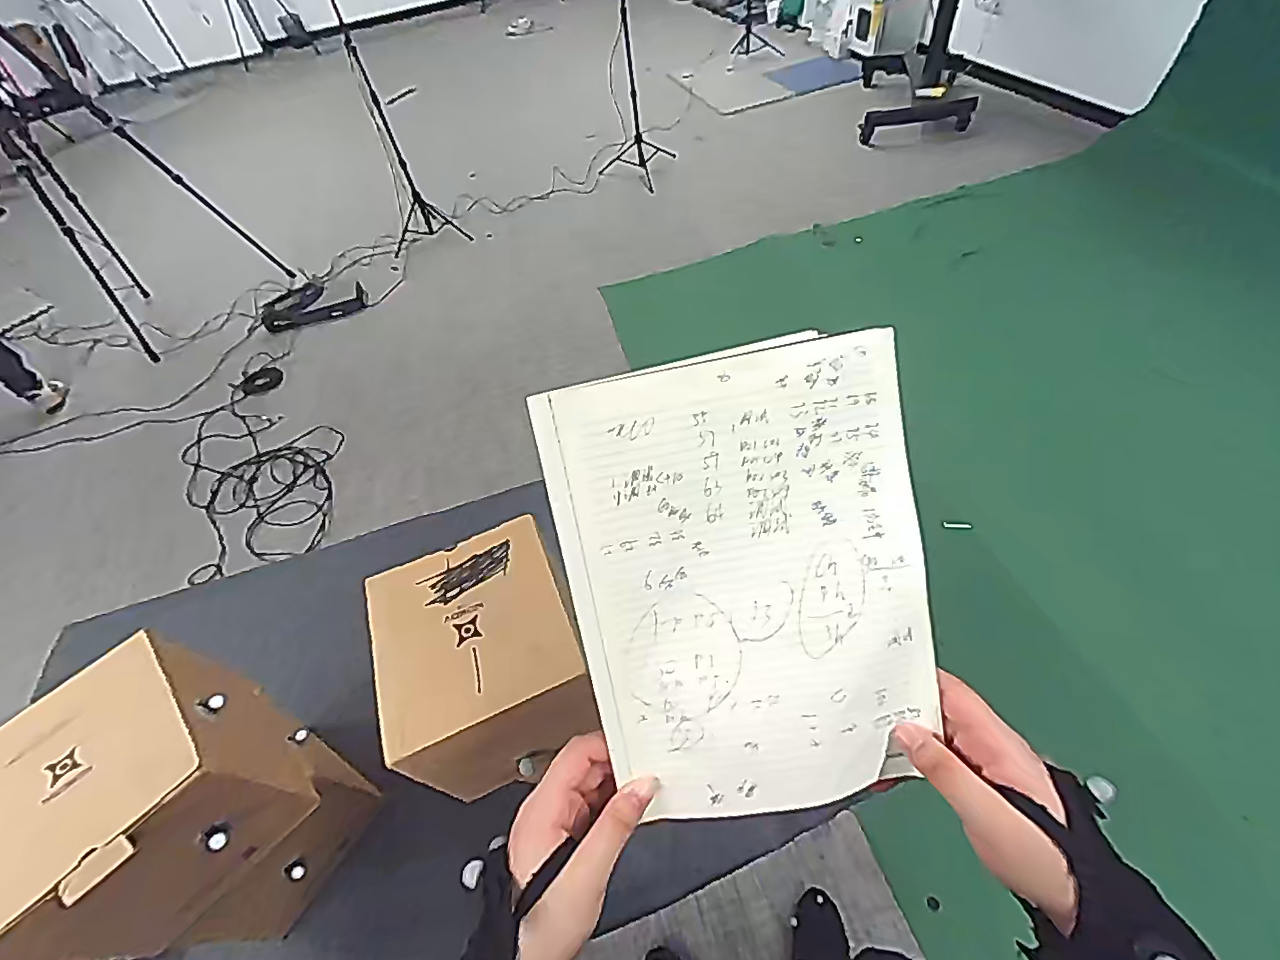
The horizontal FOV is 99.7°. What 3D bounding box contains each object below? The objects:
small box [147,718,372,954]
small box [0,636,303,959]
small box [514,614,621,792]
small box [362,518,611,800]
[{"bbox_3d":[-0.449,0.382,0.613,0.179,0.176,0.168,22,57,24],"label":"small box"},{"bbox_3d":[-0.449,0.282,0.484,0.179,0.176,0.168,33,62,30],"label":"small box"},{"bbox_3d":[-0.129,0.266,0.660,0.179,0.176,0.168,4,52,13],"label":"small box"},{"bbox_3d":[-0.142,0.174,0.523,0.168,0.176,0.179,-23,52,-8],"label":"small box"}]
